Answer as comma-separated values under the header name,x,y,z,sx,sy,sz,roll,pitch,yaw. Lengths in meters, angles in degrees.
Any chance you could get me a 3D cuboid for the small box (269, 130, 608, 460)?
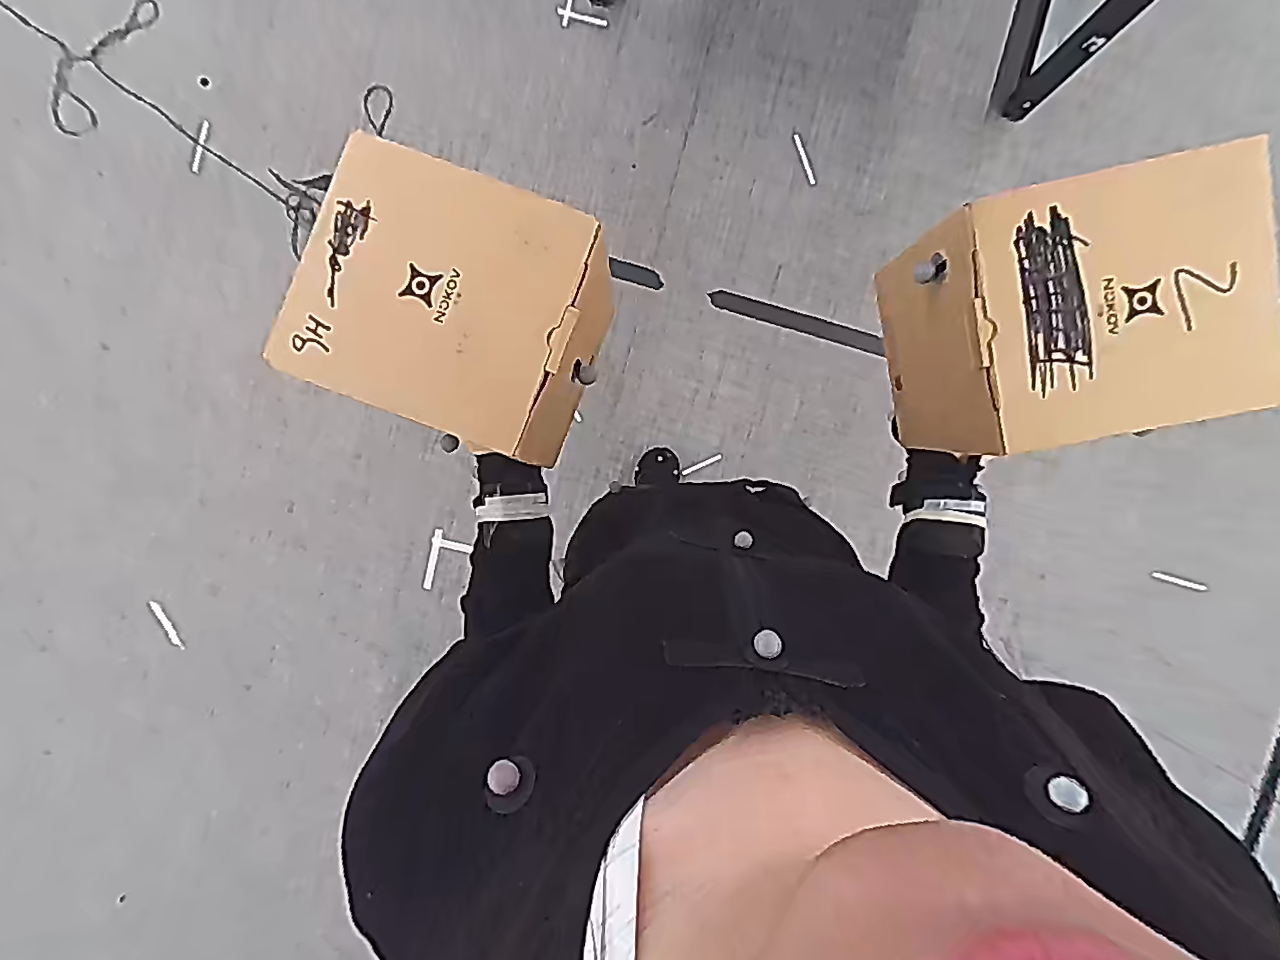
name,x,y,z,sx,sy,sz,roll,pitch,yaw
small box,-0.131,-0.120,0.428,0.179,0.176,0.168,20,89,-1
